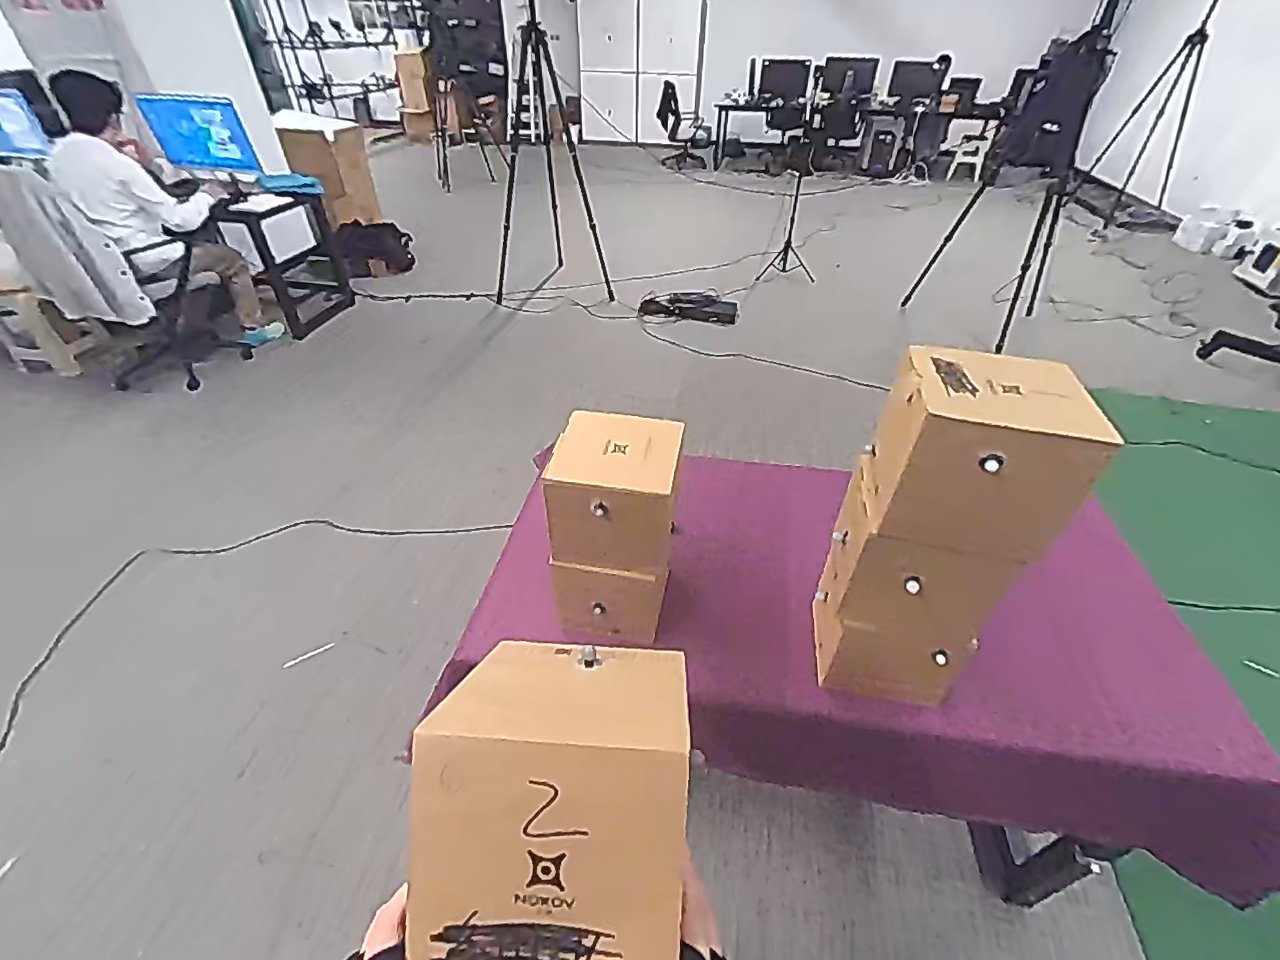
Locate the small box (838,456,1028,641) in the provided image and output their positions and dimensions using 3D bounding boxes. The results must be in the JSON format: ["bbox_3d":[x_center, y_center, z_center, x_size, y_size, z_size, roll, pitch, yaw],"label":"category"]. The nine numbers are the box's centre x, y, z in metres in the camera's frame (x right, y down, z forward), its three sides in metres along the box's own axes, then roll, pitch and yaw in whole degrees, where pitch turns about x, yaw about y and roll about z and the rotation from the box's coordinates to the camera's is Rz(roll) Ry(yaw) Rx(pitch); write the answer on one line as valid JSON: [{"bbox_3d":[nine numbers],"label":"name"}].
[{"bbox_3d":[0.369,0.092,0.725,0.179,0.176,0.168,9,41,11],"label":"small box"}]

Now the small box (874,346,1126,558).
[{"bbox_3d":[0.379,-0.033,0.617,0.179,0.176,0.168,11,41,10],"label":"small box"}]

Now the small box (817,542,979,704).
[{"bbox_3d":[0.375,0.219,0.829,0.179,0.176,0.168,7,40,8],"label":"small box"}]

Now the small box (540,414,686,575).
[{"bbox_3d":[-0.032,0.022,0.804,0.179,0.176,0.168,7,42,8],"label":"small box"}]

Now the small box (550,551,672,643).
[{"bbox_3d":[-0.039,0.147,0.909,0.168,0.176,0.179,8,40,9],"label":"small box"}]
